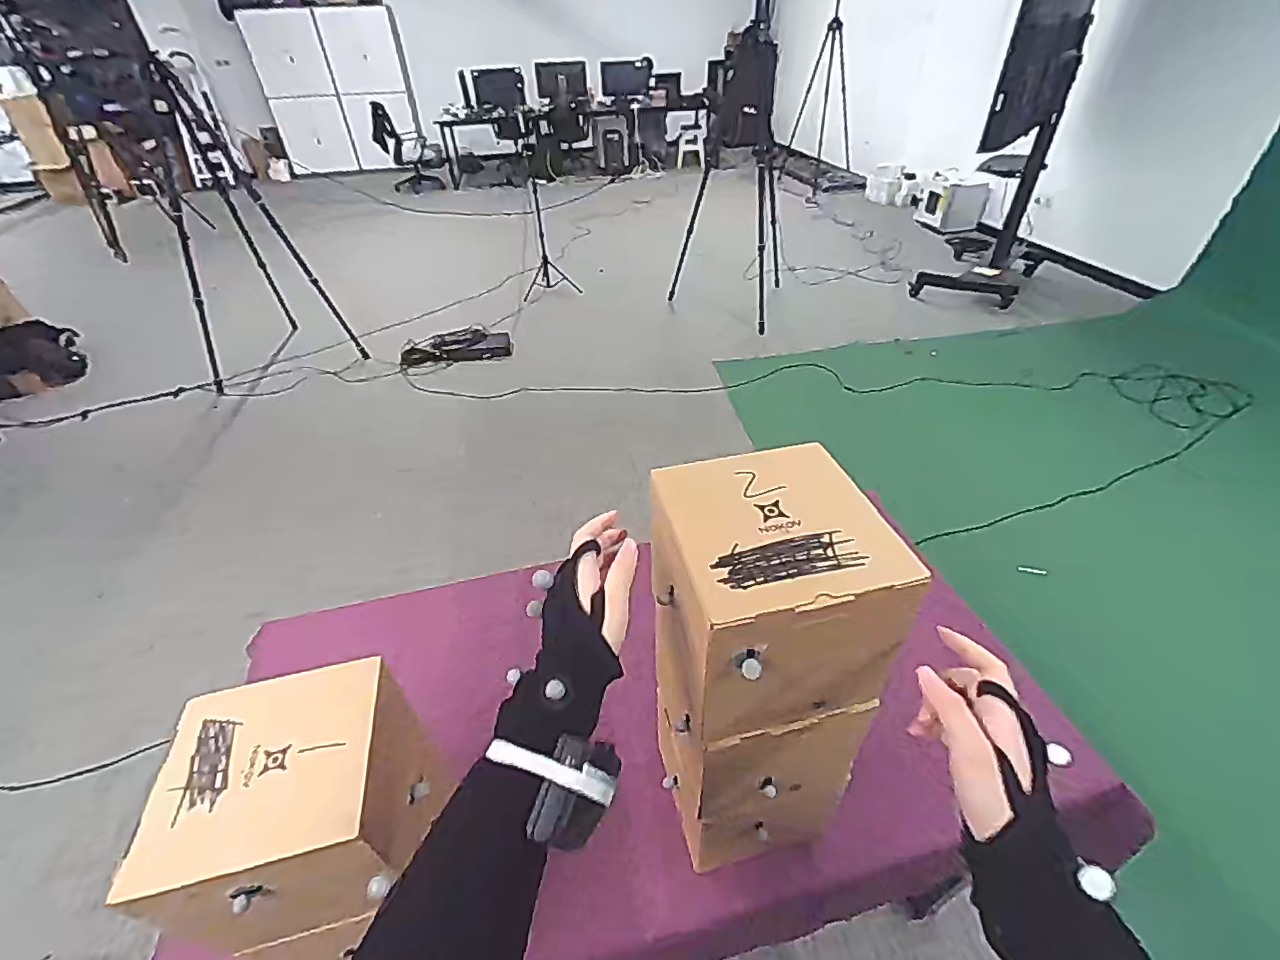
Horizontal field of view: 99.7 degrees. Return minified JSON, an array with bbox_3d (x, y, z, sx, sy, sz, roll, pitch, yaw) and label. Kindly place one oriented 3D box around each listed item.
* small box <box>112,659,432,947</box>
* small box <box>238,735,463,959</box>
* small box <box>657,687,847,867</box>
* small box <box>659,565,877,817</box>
[{"bbox_3d":[-0.315,0.304,0.514,0.179,0.176,0.168,-10,40,-10],"label":"small box"},{"bbox_3d":[-0.306,0.430,0.620,0.168,0.176,0.179,-10,40,-9],"label":"small box"},{"bbox_3d":[0.130,0.353,0.683,0.179,0.176,0.168,-12,41,-9],"label":"small box"},{"bbox_3d":[0.117,0.223,0.584,0.168,0.176,0.179,-10,40,-9],"label":"small box"}]
